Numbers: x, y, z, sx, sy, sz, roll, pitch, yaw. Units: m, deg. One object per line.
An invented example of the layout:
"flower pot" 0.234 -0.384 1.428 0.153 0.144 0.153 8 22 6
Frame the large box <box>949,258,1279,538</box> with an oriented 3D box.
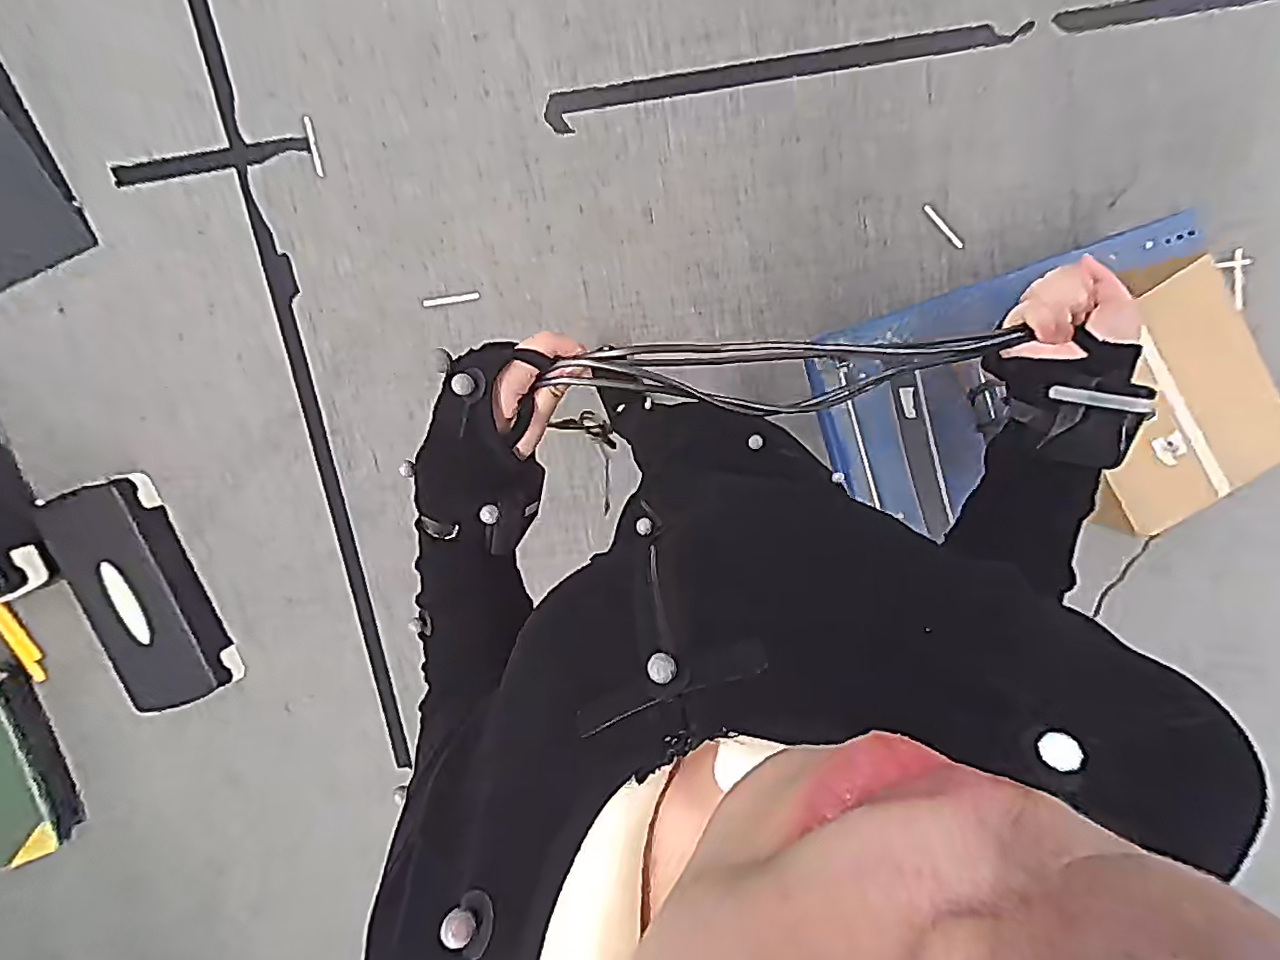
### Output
"large box" 0.932 -0.162 1.096 0.320 0.320 0.408 -34 99 8
